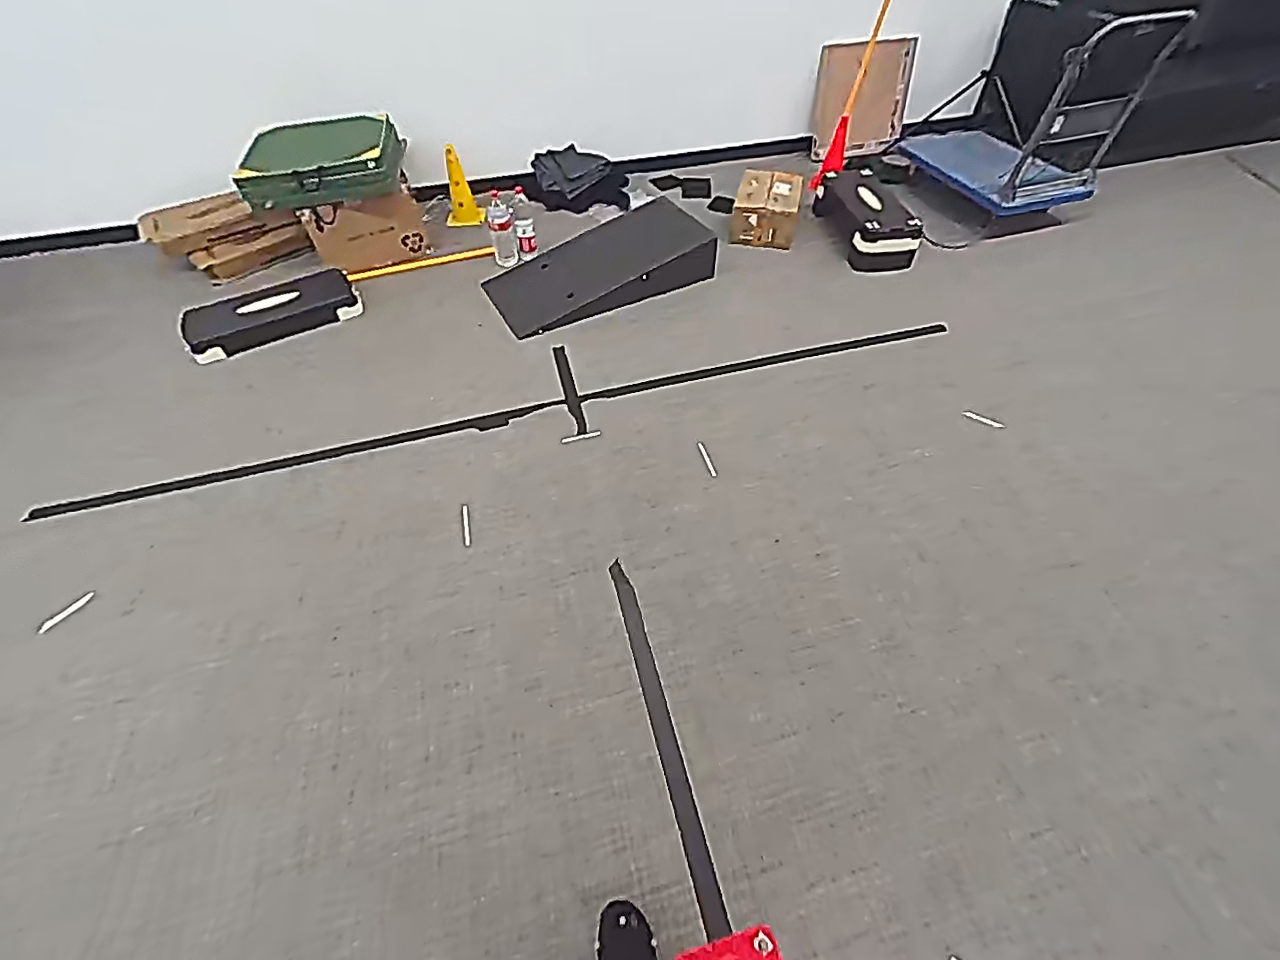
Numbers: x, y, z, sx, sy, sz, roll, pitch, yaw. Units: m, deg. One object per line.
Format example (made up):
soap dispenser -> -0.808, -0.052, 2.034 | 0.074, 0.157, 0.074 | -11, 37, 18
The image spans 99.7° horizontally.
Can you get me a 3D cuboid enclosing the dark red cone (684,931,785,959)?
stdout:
dark red cone -> 0.176, 0.831, 0.811 | 0.201, 0.394, 0.202 | -13, 52, -9
